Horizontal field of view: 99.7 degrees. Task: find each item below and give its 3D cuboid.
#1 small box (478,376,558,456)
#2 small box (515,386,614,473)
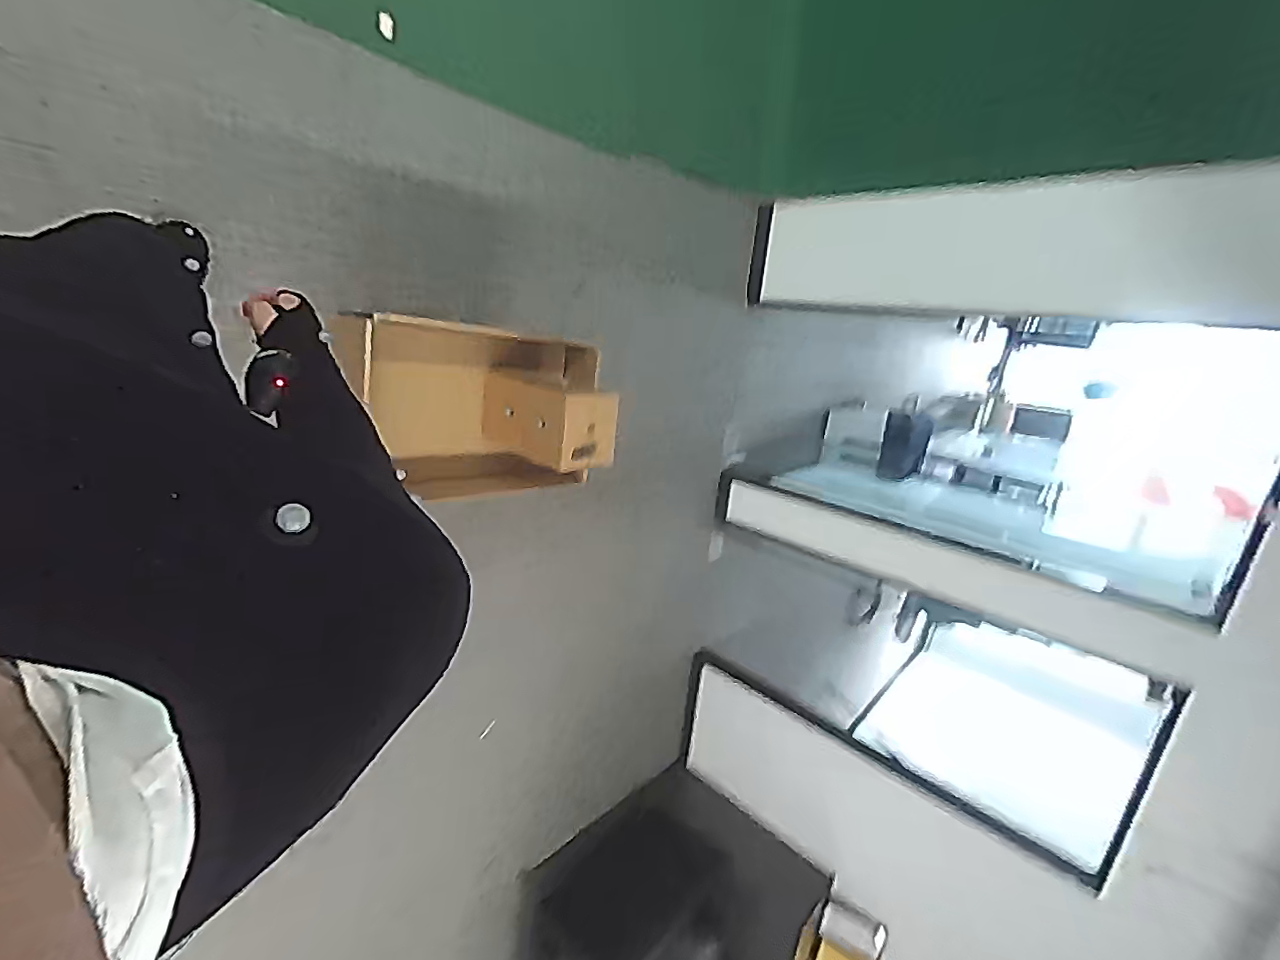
[{"bbox_3d":[-0.304,-0.168,1.411,0.168,0.176,0.179,-7,111,-48],"label":"small box"},{"bbox_3d":[-0.186,-0.125,1.305,0.168,0.176,0.179,-9,111,-47],"label":"small box"}]
